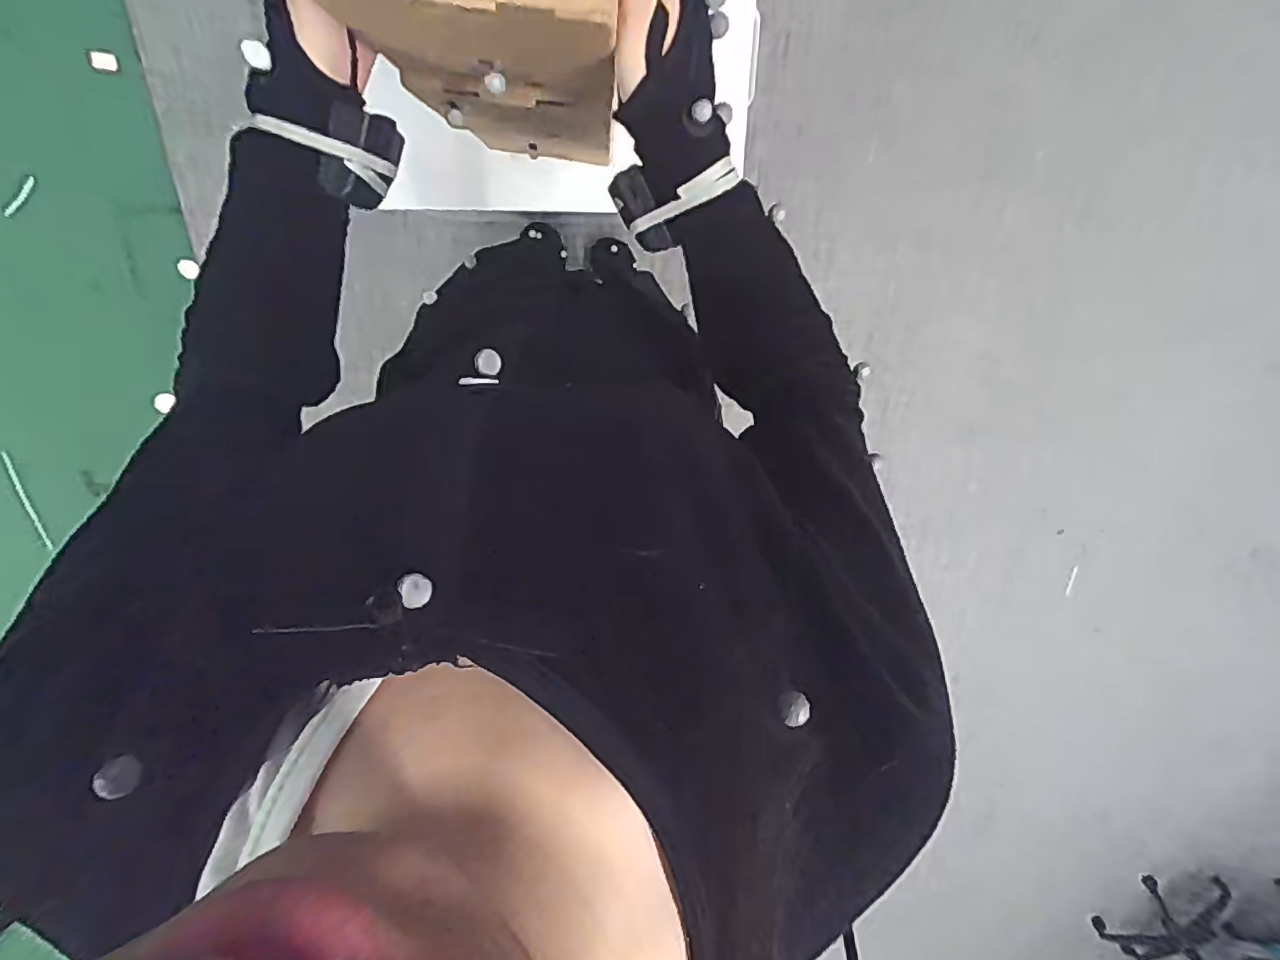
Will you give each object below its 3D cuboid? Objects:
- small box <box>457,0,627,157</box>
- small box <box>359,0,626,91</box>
[{"bbox_3d":[-0.103,-0.484,0.607,0.168,0.176,0.179,5,114,-6],"label":"small box"},{"bbox_3d":[-0.085,-0.354,0.304,0.168,0.176,0.179,4,113,-4],"label":"small box"}]
